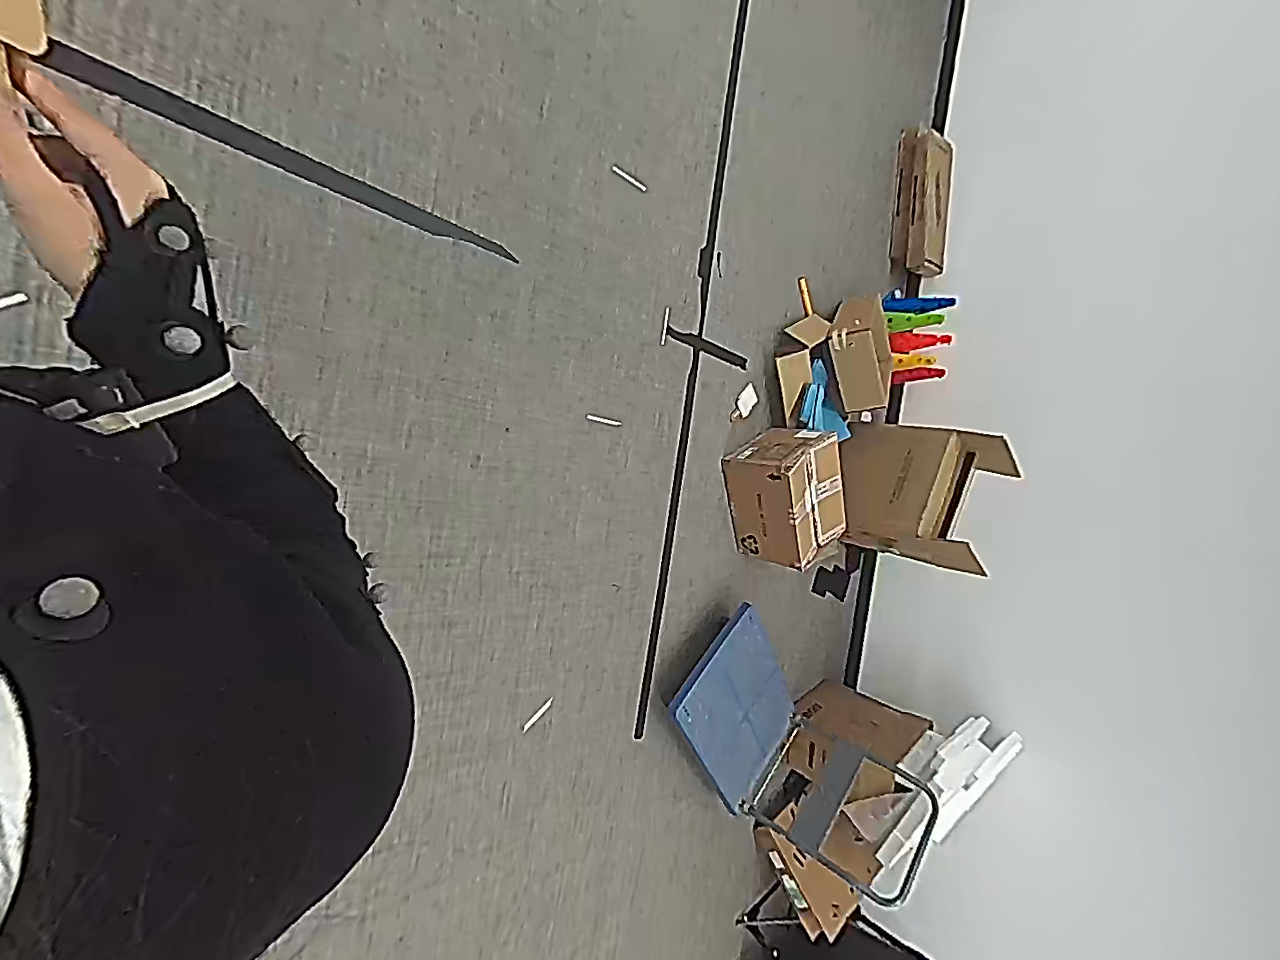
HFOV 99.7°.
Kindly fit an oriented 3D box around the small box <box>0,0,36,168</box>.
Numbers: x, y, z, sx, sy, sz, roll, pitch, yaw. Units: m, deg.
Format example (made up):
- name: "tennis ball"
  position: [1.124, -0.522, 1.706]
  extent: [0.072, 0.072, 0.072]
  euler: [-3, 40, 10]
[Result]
- name: "small box"
  position: [-0.411, -0.261, 0.242]
  extent: [0.179, 0.176, 0.168]
  euler: [-8, 106, -45]
